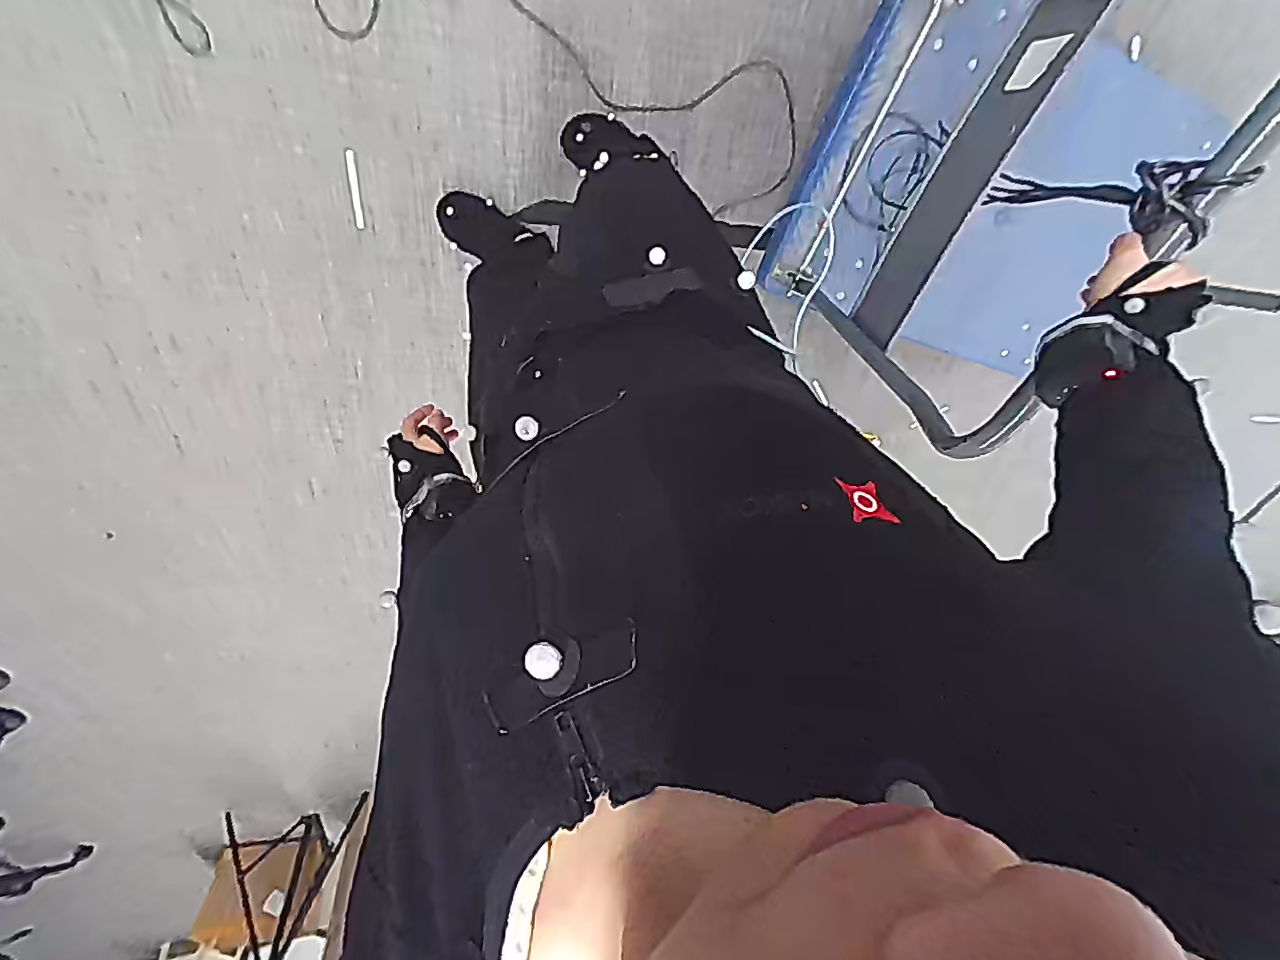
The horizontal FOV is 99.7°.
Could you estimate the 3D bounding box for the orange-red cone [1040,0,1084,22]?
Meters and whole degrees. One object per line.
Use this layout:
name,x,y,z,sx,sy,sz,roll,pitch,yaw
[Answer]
orange-red cone,0.846,-0.882,0.850,0.198,0.360,0.199,-34,129,16
